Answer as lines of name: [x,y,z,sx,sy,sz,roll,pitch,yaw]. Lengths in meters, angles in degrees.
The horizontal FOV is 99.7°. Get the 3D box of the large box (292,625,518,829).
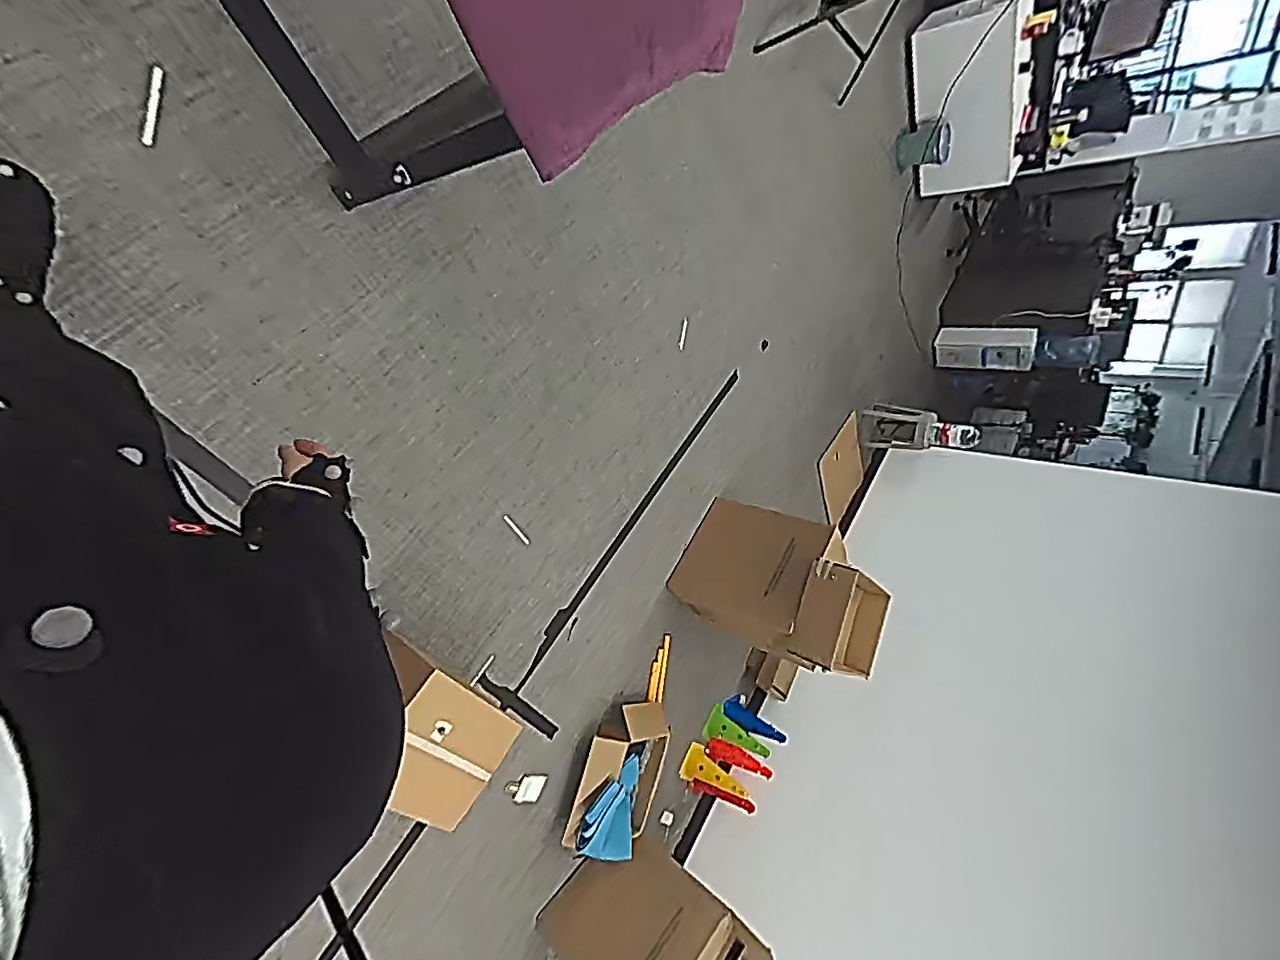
large box: [-0.617,0.660,1.459,0.320,0.320,0.408,-54,135,-24]
